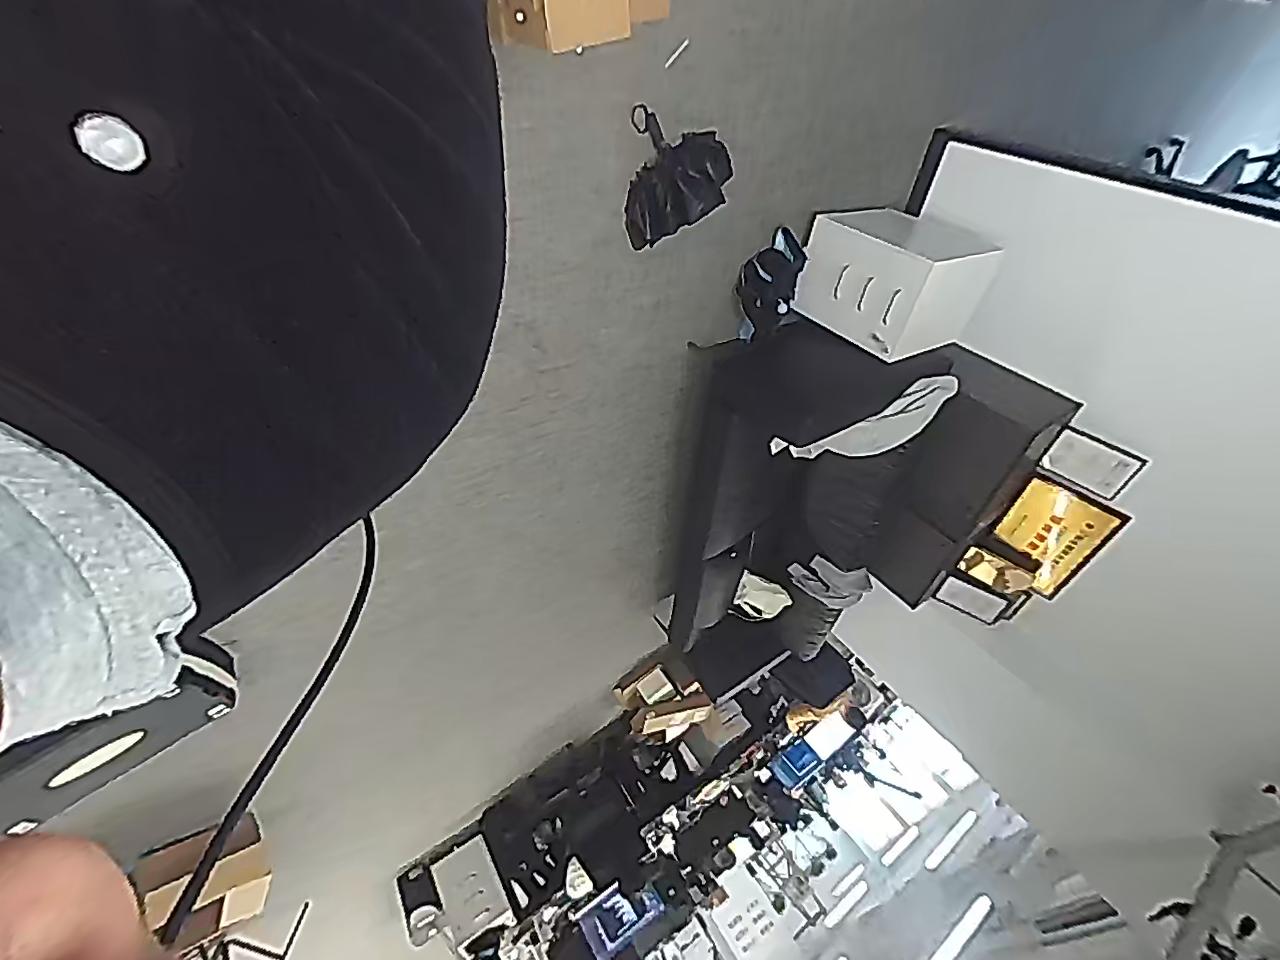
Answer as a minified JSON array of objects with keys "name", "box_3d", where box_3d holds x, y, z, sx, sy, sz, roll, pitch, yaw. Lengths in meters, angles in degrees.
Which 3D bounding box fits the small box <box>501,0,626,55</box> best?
[{"name":"small box","box_3d":[-0.147,-0.888,0.964,0.179,0.176,0.168,-31,146,-20]}]
